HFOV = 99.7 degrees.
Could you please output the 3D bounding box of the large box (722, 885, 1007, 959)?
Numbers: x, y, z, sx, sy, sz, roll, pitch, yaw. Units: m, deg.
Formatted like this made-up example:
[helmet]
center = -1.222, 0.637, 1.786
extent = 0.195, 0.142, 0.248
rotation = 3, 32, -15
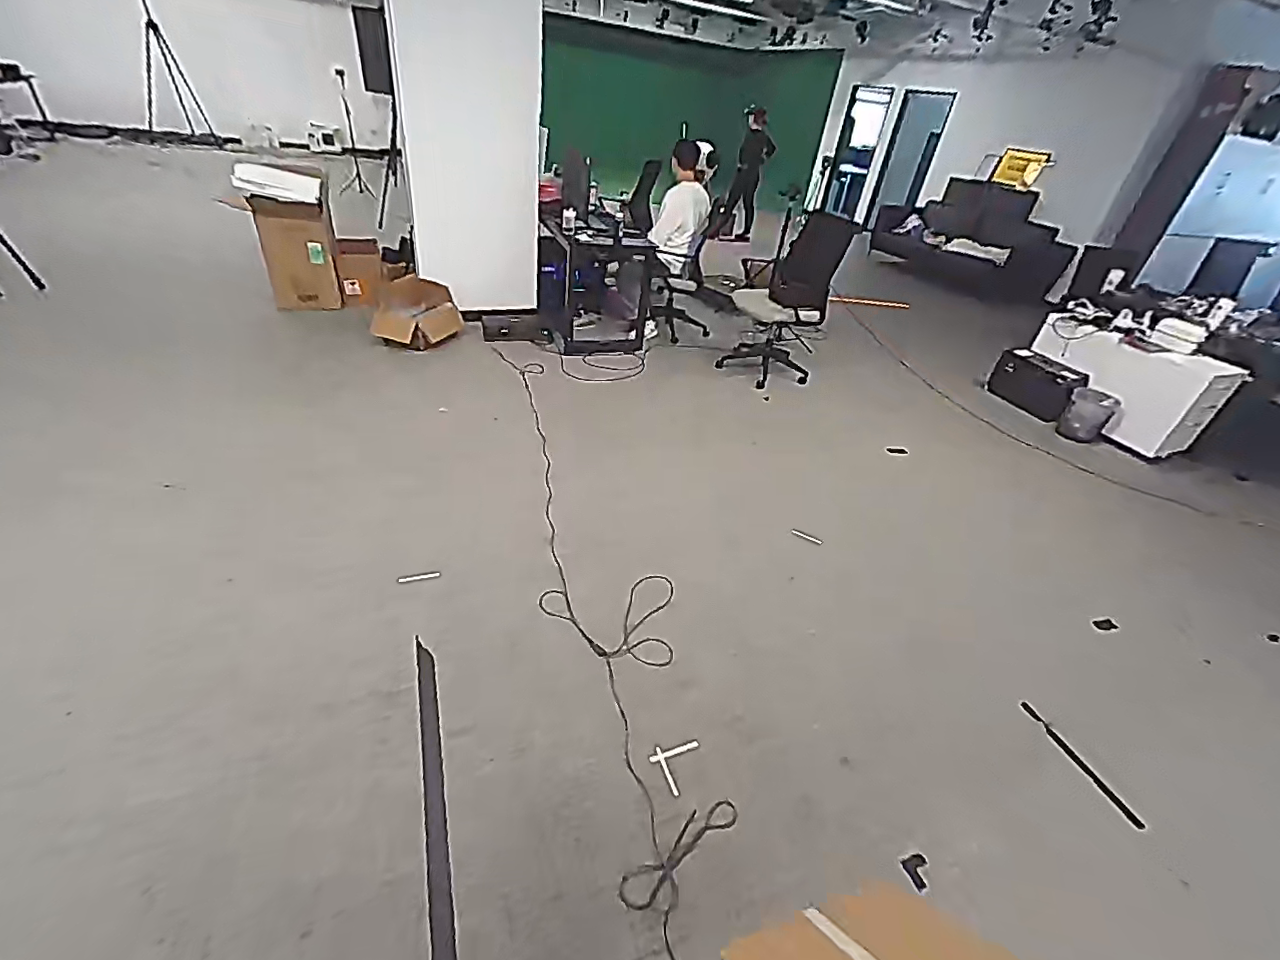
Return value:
[large box]
center = 0.339, 0.772, 0.630
extent = 0.320, 0.408, 0.320
rotation = -8, 77, -16
